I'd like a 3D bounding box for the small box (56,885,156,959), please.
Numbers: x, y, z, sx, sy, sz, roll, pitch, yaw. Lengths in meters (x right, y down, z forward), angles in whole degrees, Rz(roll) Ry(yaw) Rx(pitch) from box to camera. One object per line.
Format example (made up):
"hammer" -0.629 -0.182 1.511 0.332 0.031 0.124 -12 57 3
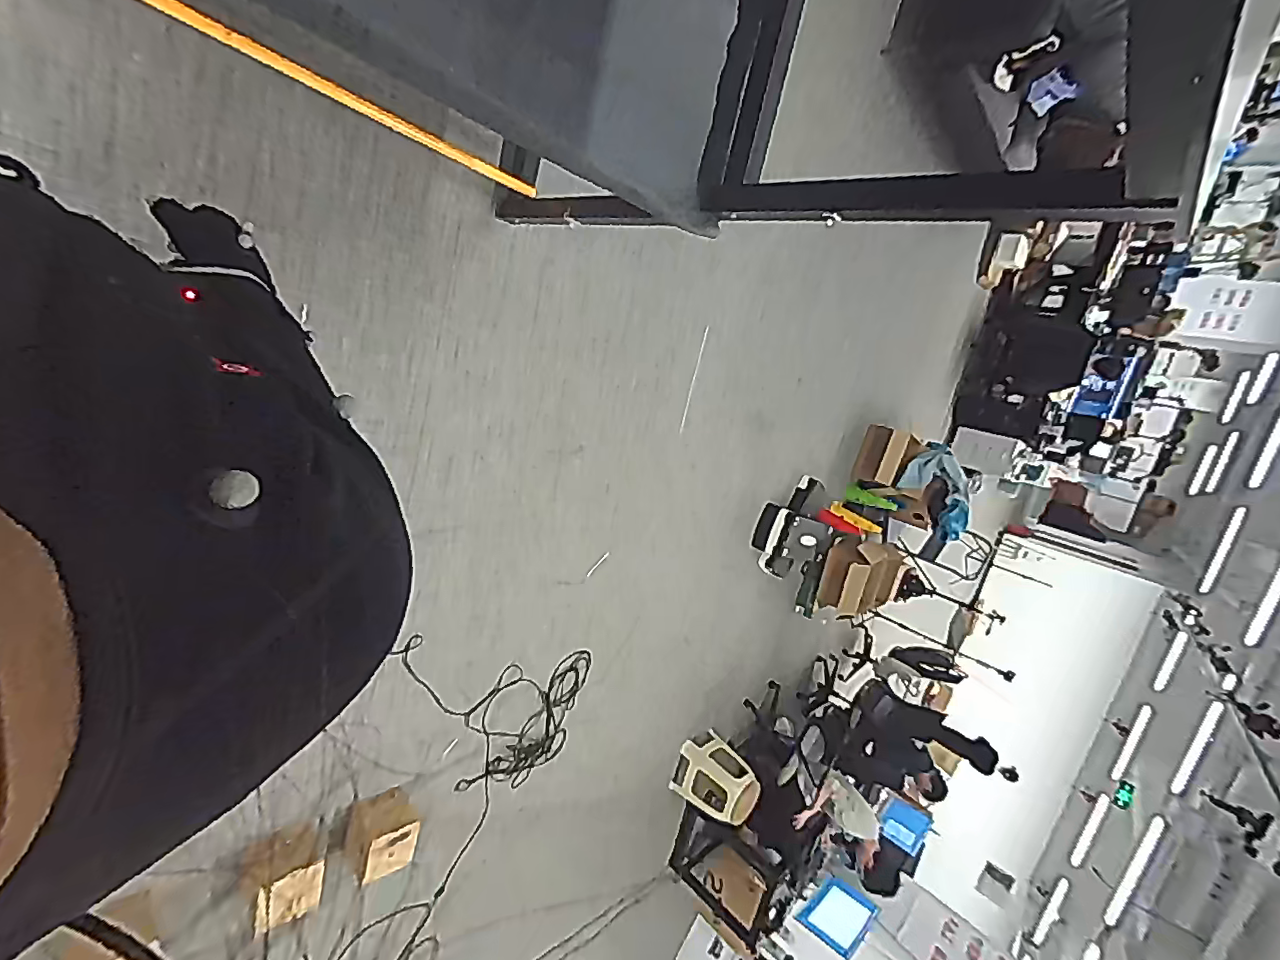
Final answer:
"small box" -1.319 1.154 1.336 0.168 0.176 0.179 -2 110 -47

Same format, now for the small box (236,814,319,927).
"small box" -1.081 1.148 1.605 0.168 0.176 0.179 -1 108 -49

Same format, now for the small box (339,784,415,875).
"small box" -0.892 1.165 1.826 0.168 0.176 0.179 7 104 -50
